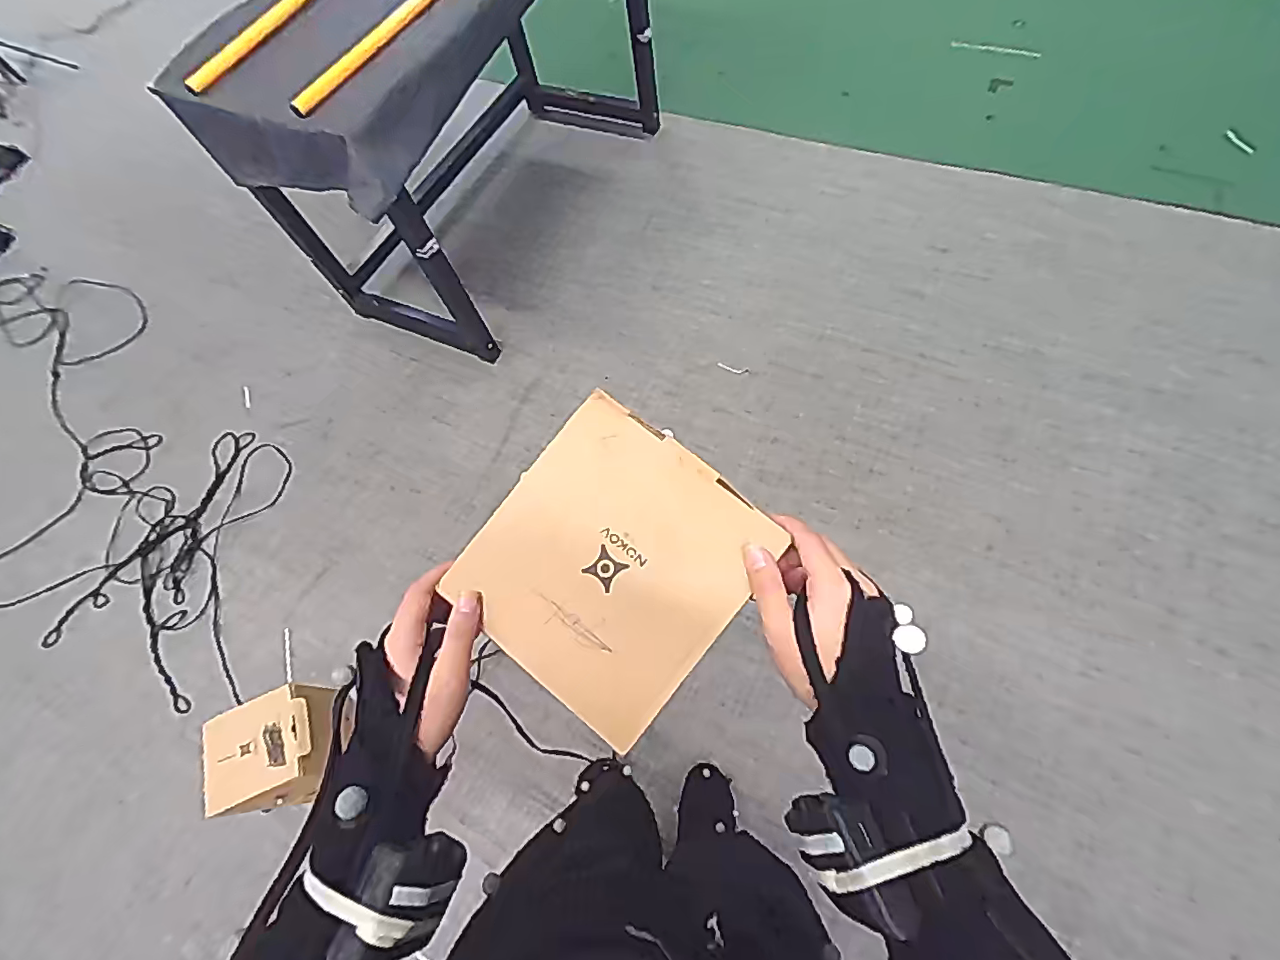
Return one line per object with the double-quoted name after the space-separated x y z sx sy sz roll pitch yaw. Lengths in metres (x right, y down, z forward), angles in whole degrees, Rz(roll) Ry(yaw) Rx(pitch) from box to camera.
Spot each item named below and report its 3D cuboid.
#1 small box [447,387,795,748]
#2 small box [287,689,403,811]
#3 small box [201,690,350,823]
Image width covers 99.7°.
-0.007 0.062 0.428 0.168 0.176 0.179 37 88 11 "small box"
-0.645 0.576 1.171 0.168 0.176 0.179 -28 64 -5 "small box"
-0.675 0.514 1.020 0.179 0.176 0.168 -24 63 -3 "small box"
